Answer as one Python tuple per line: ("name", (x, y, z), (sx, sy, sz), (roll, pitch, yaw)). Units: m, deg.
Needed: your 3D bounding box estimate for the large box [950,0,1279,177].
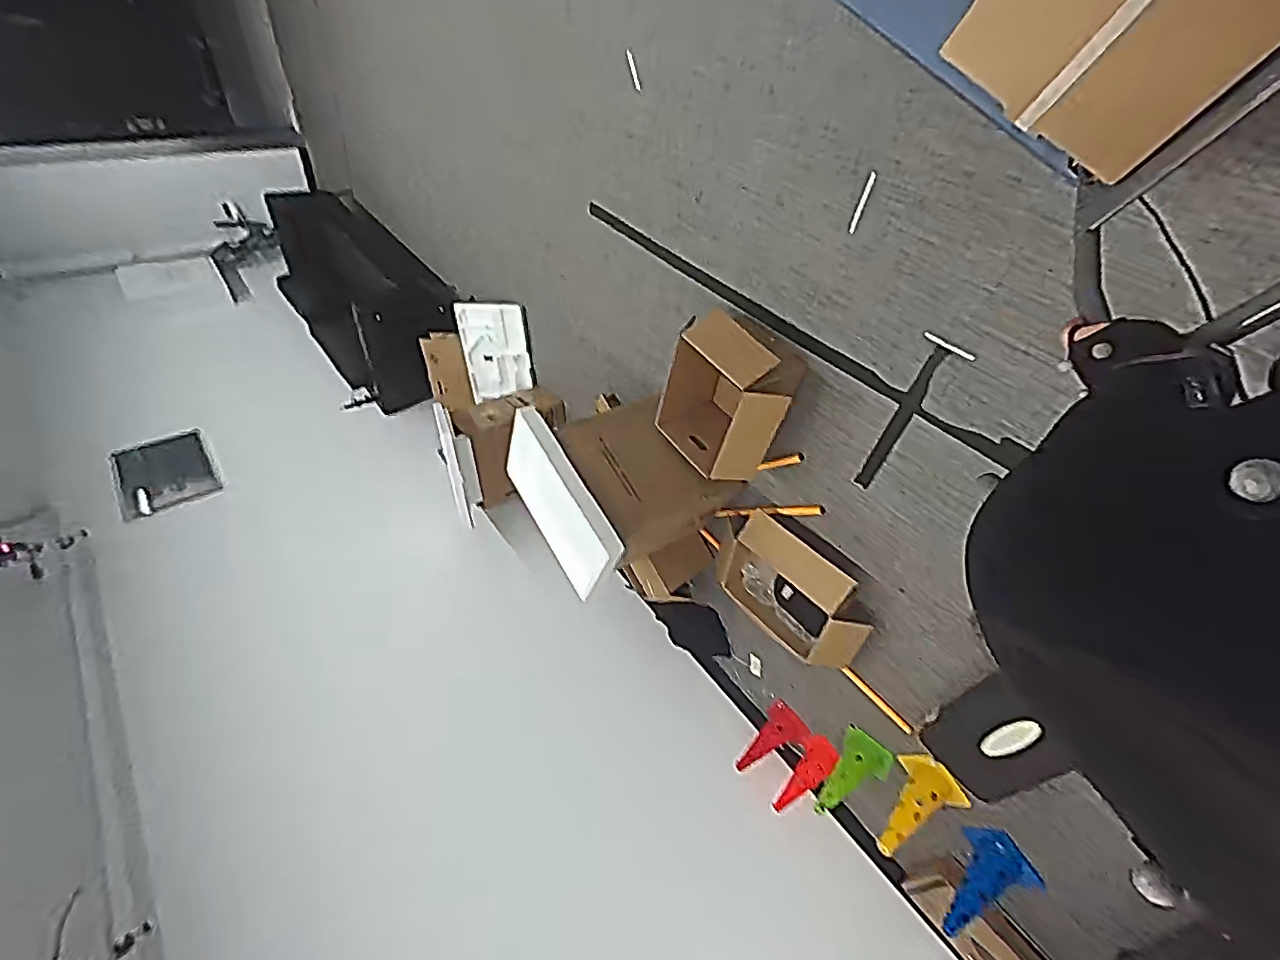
("large box", (0.694, -0.698, 0.683), (0.320, 0.320, 0.408), (38, 145, 1))
